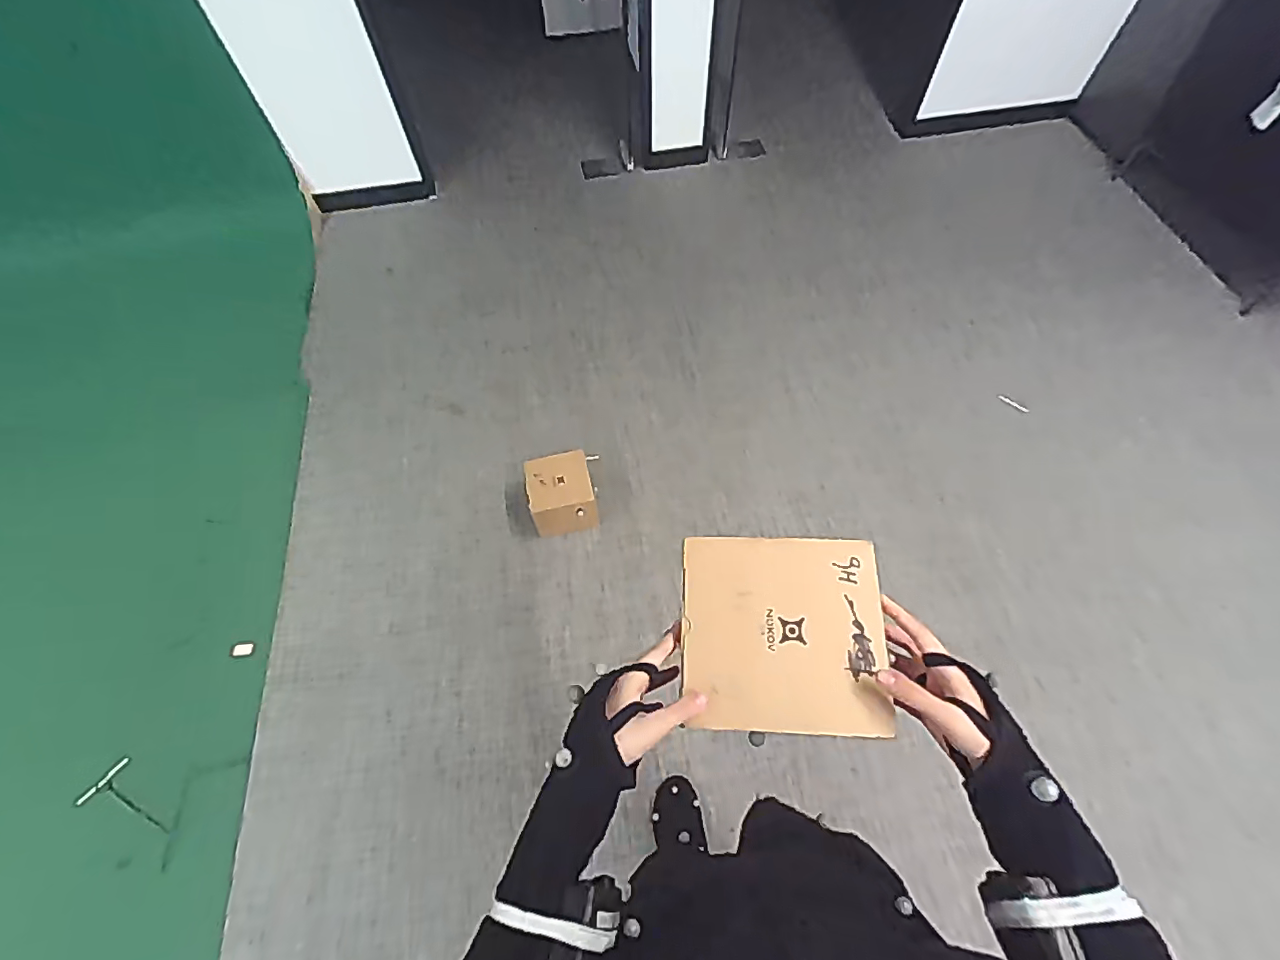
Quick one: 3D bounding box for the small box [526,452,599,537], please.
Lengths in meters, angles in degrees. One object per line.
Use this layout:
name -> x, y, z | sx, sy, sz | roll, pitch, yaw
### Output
small box -> -0.218, 0.046, 1.552 | 0.179, 0.176, 0.168 | -13, 62, -5
